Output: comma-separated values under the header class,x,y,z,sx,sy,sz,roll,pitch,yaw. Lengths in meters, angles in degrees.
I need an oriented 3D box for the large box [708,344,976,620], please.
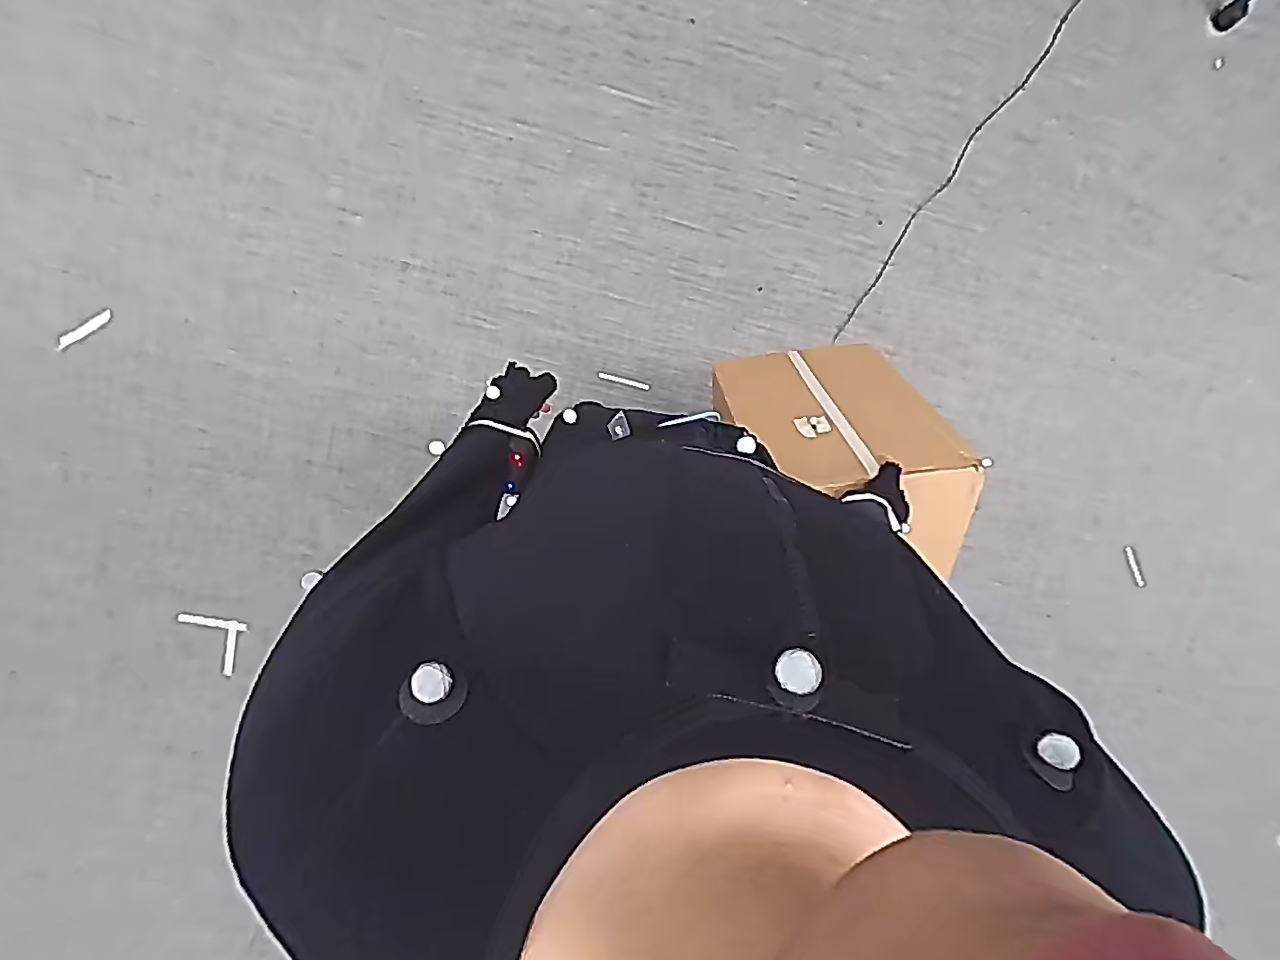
class,x,y,z,sx,sy,sz,roll,pitch,yaw
large box,0.315,-0.009,1.000,0.320,0.408,0.320,-8,130,0
